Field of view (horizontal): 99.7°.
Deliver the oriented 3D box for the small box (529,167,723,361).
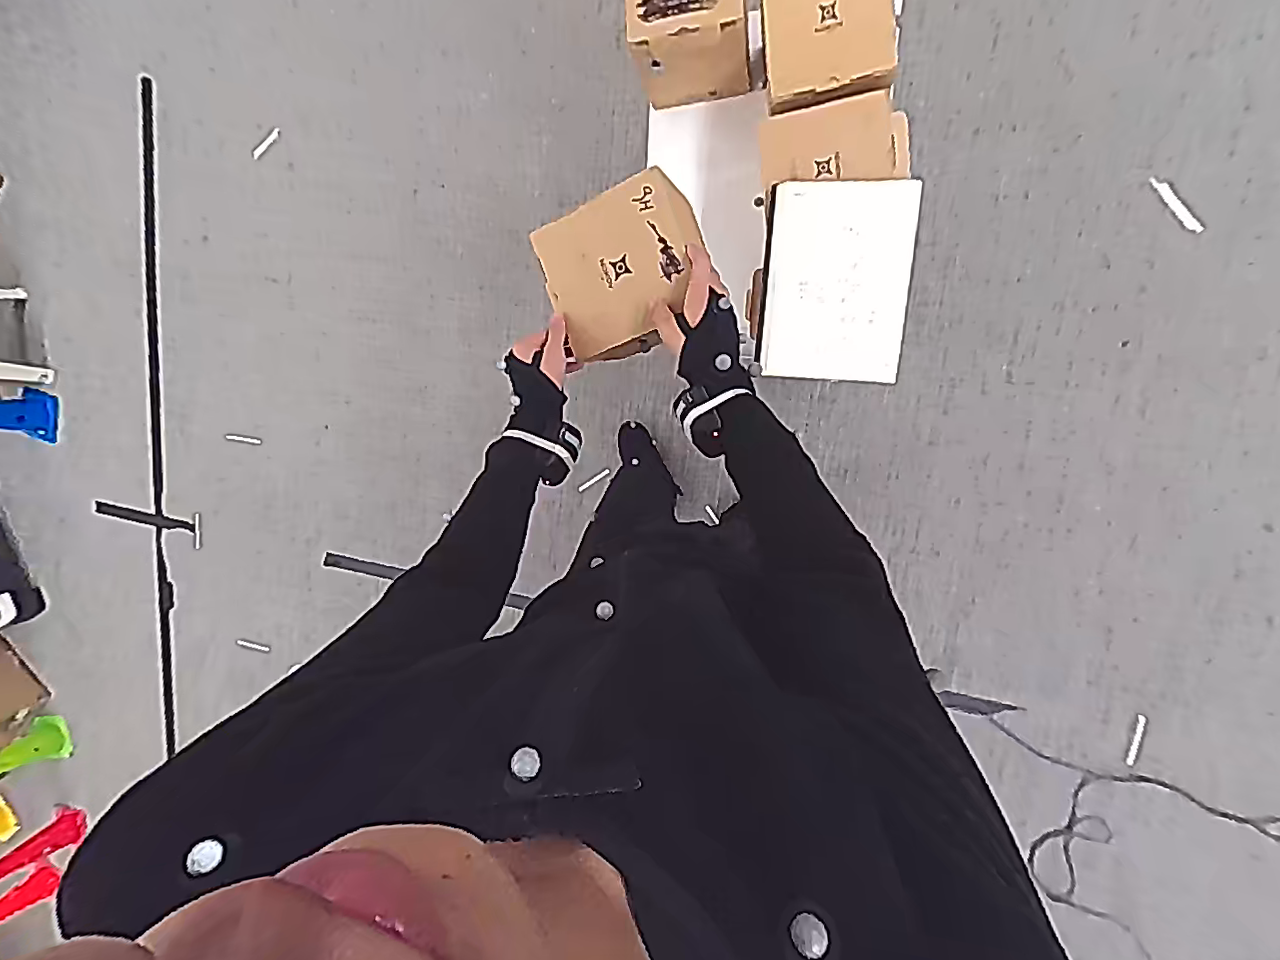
[{"bbox_3d":[-0.008,-0.264,0.706,0.179,0.176,0.168,-18,98,21],"label":"small box"}]
